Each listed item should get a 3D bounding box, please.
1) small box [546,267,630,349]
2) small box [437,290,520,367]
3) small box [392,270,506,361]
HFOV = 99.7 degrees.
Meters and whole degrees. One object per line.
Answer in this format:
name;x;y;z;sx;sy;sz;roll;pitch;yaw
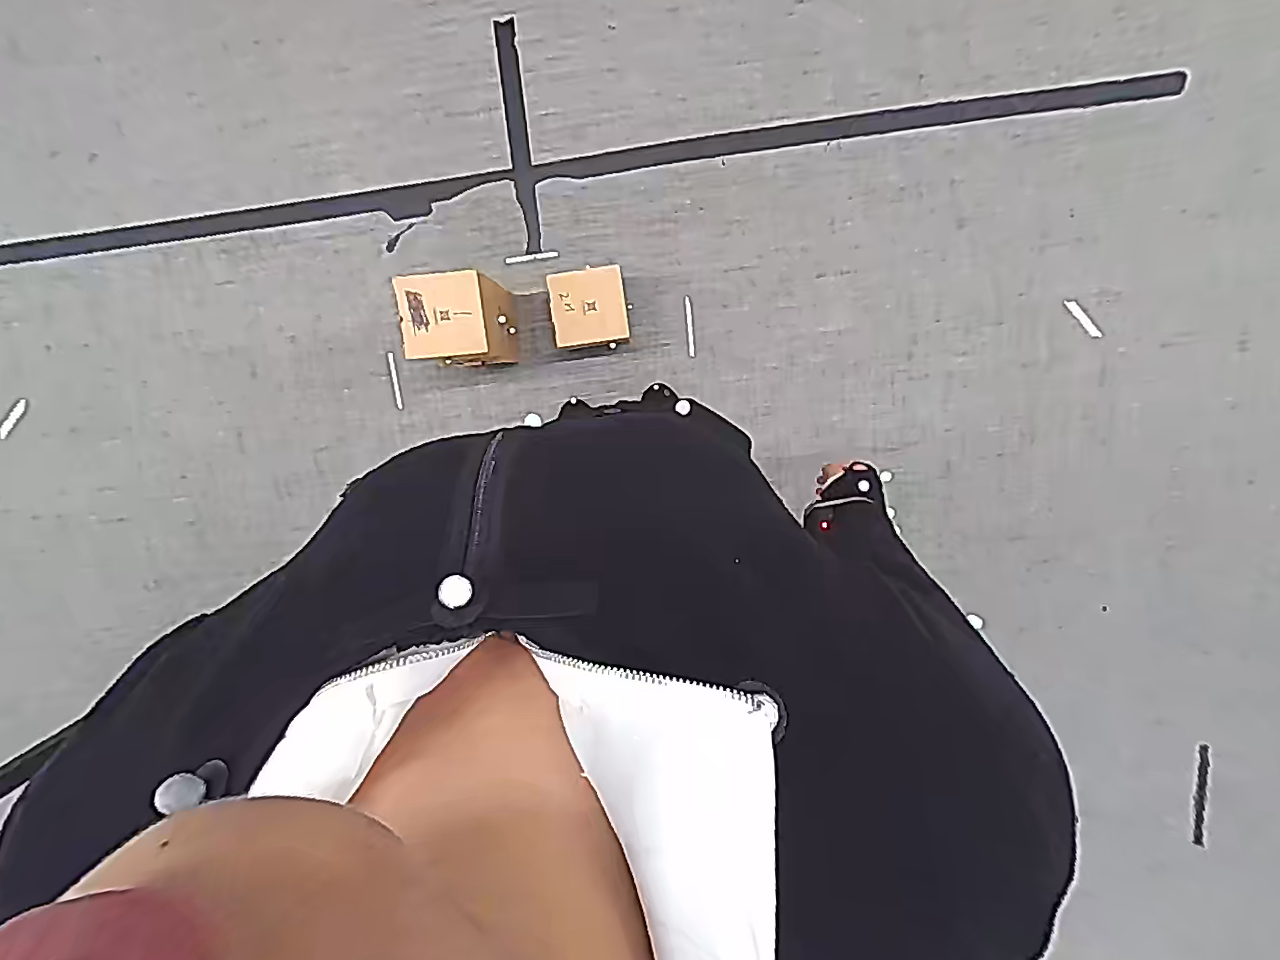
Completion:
small box;-0.120;-0.416;1.325;0.179;0.176;0.168;-7;102;2
small box;-0.404;-0.376;1.337;0.168;0.176;0.179;-4;102;2
small box;-0.405;-0.349;1.173;0.179;0.176;0.168;-4;101;1
